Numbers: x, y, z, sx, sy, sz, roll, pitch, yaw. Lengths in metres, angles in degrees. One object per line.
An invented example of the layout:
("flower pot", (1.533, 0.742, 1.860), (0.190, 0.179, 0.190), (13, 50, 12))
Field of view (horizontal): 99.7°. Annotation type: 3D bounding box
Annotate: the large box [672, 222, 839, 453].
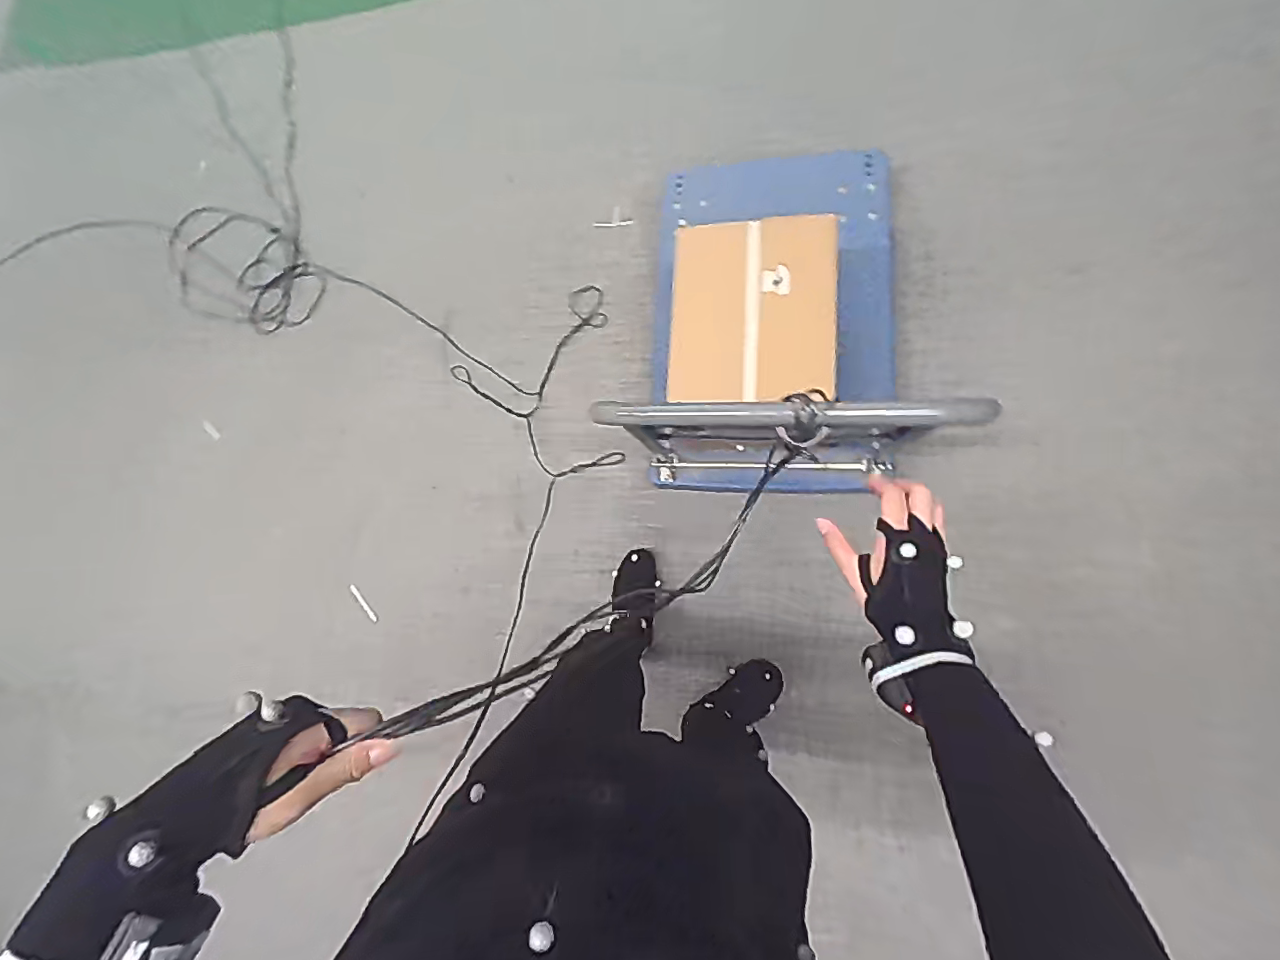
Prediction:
("large box", (0.258, -0.285, 1.196), (0.320, 0.320, 0.408), (2, 80, 13))
